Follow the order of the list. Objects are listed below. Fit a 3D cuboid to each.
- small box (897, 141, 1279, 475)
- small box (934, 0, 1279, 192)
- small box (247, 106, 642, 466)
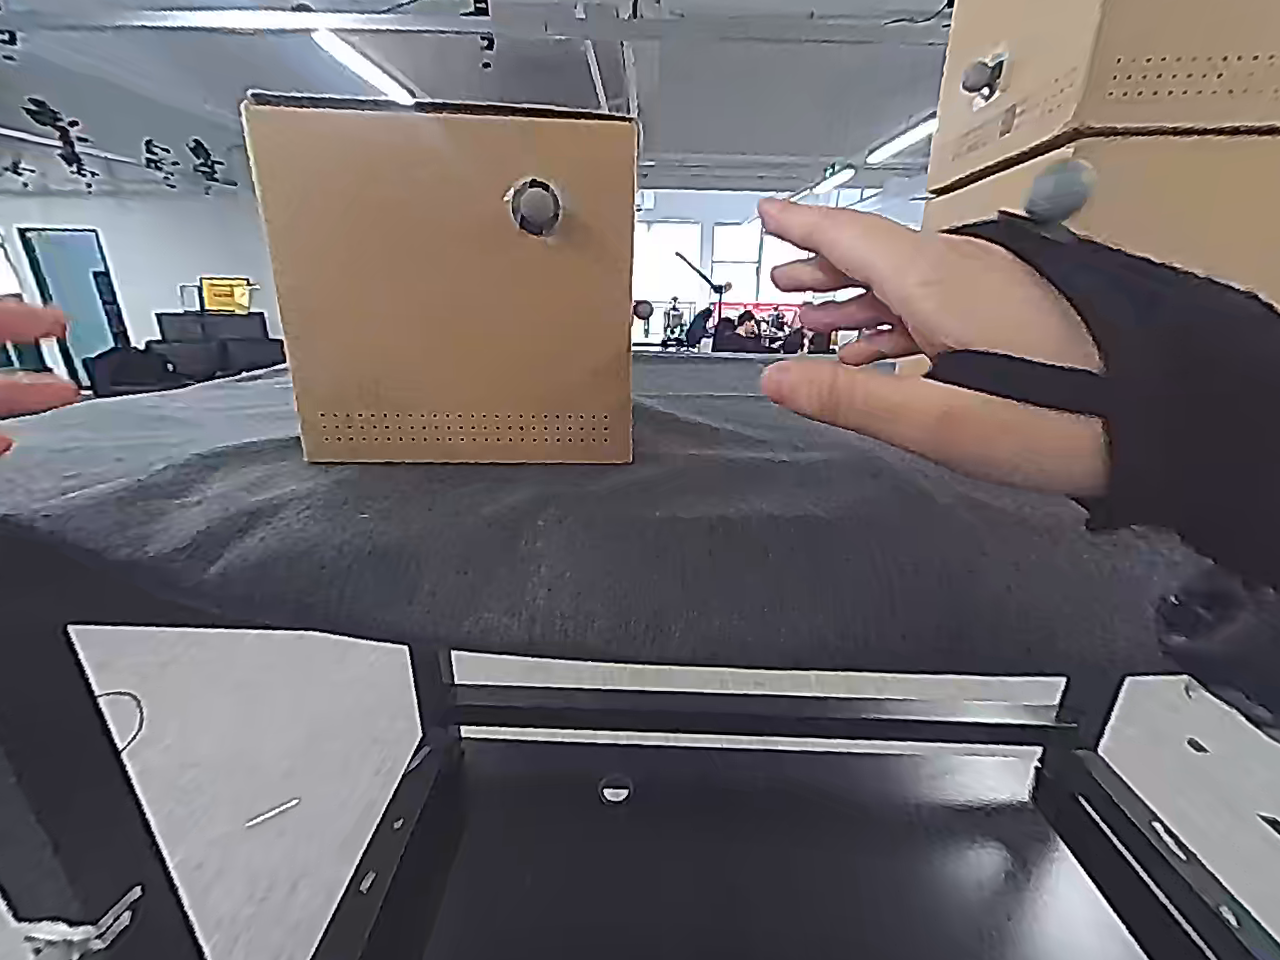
[{"bbox_3d":[0.292,-0.106,0.356,0.168,0.176,0.179,2,18,4],"label":"small box"},{"bbox_3d":[0.292,-0.259,0.294,0.179,0.176,0.168,1,18,5],"label":"small box"},{"bbox_3d":[-0.092,-0.109,0.341,0.179,0.176,0.168,0,18,-3],"label":"small box"}]
